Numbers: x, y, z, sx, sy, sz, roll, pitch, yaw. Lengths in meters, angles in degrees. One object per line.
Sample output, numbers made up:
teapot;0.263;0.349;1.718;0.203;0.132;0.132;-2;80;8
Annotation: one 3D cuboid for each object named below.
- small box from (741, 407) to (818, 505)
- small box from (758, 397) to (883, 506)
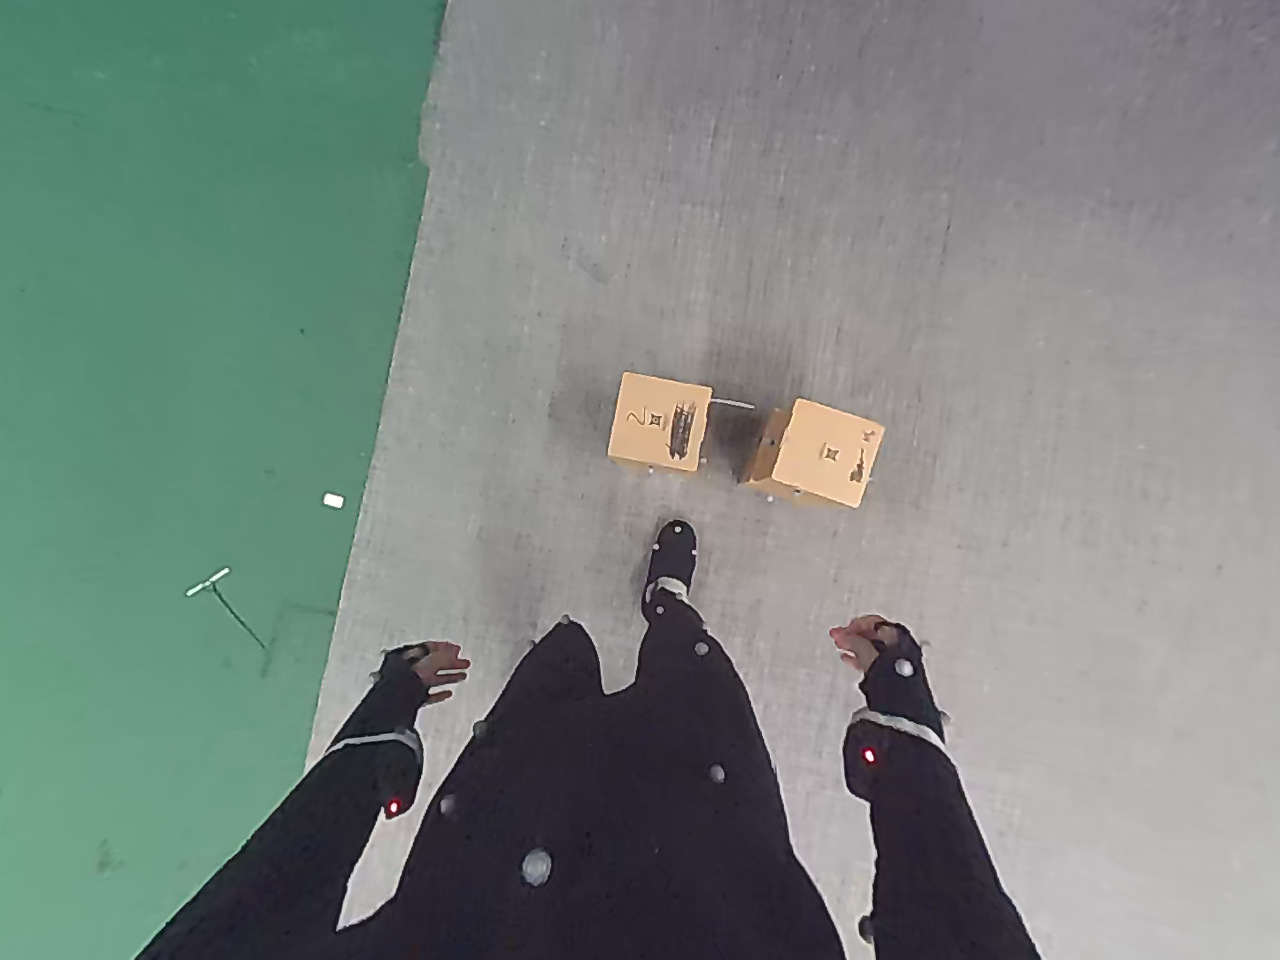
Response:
small box;0.345;-0.049;1.261;0.168;0.176;0.179;20;88;4
small box;0.352;-0.049;1.095;0.179;0.176;0.168;20;88;4
